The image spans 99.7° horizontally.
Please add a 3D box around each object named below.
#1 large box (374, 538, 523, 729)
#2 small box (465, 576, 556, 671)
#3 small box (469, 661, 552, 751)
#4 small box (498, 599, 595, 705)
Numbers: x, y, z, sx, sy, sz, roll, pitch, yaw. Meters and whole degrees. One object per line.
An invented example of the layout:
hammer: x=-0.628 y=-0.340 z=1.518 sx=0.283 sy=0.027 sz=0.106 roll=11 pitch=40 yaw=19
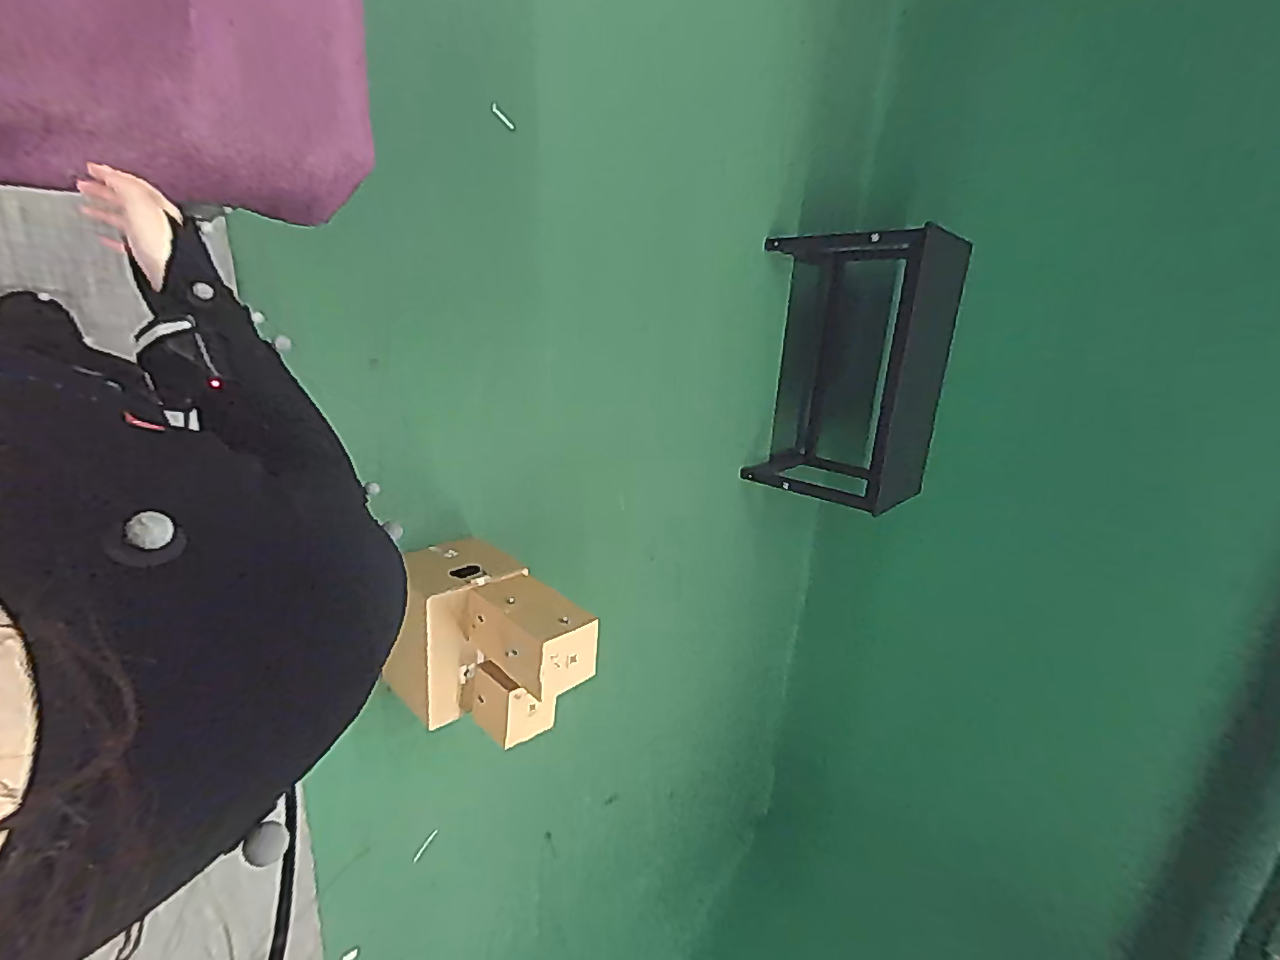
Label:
large box: x=-0.571 y=0.430 z=1.615 sx=0.320 sy=0.320 sz=0.408 roll=-10 pitch=111 yaw=-45
small box: x=-0.353 y=0.378 z=1.467 sx=0.179 sy=0.176 sz=0.168 roll=-10 pitch=111 yaw=-46
small box: x=-0.368 y=0.618 z=1.531 sx=0.168 sy=0.176 sz=0.179 roll=-4 pitch=105 yaw=-48
small box: x=-0.235 y=0.420 z=1.359 sx=0.179 sy=0.176 sz=0.168 roll=-12 pitch=112 yaw=-45
